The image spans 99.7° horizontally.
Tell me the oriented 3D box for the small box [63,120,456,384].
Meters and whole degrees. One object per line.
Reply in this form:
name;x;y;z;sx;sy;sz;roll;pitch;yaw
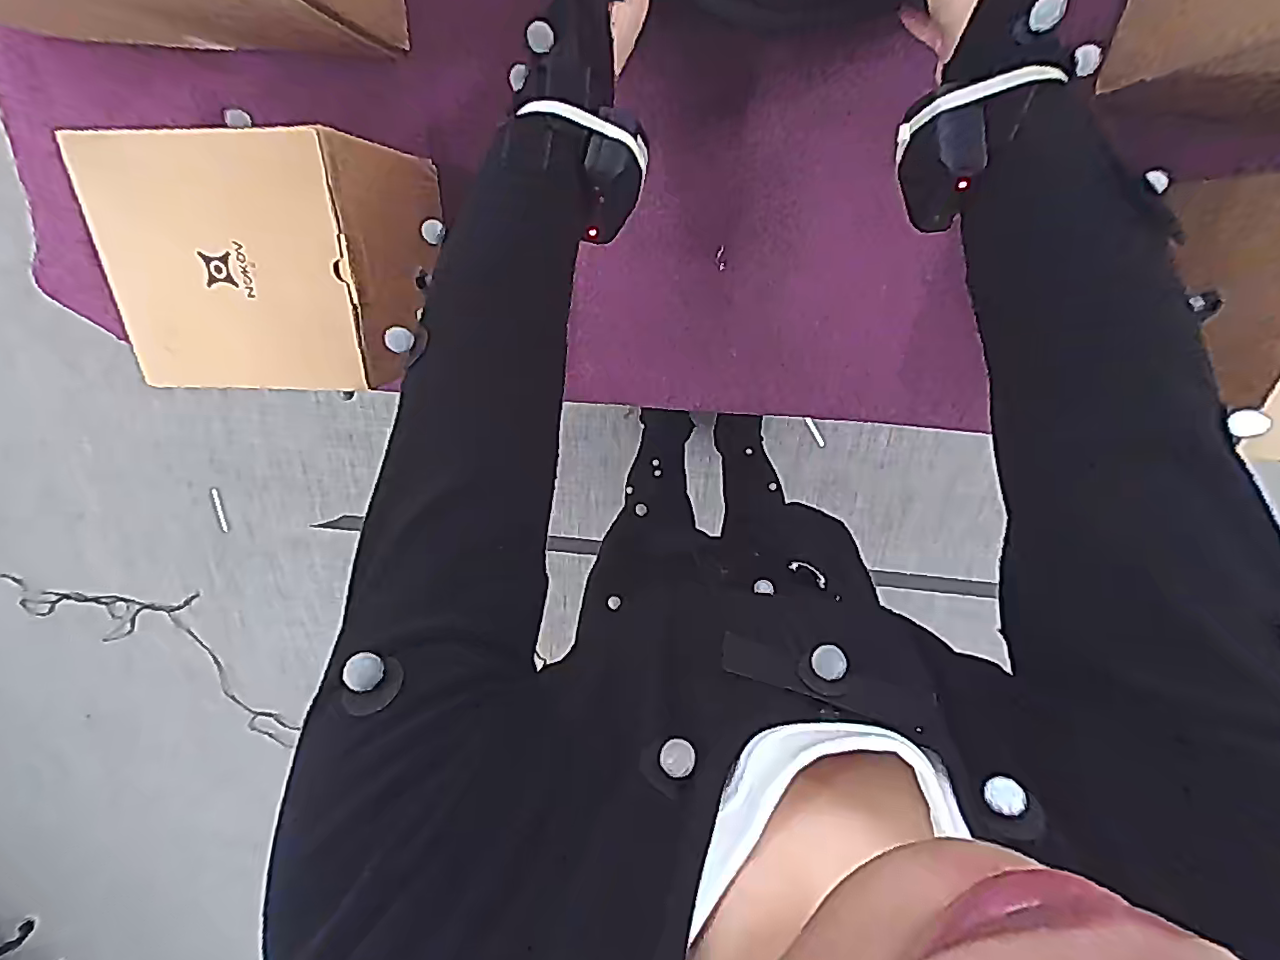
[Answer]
small box;-0.274;-0.178;0.440;0.179;0.176;0.168;1;113;4

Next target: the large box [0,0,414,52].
large box;-0.333;-0.475;0.231;0.320;0.320;0.408;4;117;2
